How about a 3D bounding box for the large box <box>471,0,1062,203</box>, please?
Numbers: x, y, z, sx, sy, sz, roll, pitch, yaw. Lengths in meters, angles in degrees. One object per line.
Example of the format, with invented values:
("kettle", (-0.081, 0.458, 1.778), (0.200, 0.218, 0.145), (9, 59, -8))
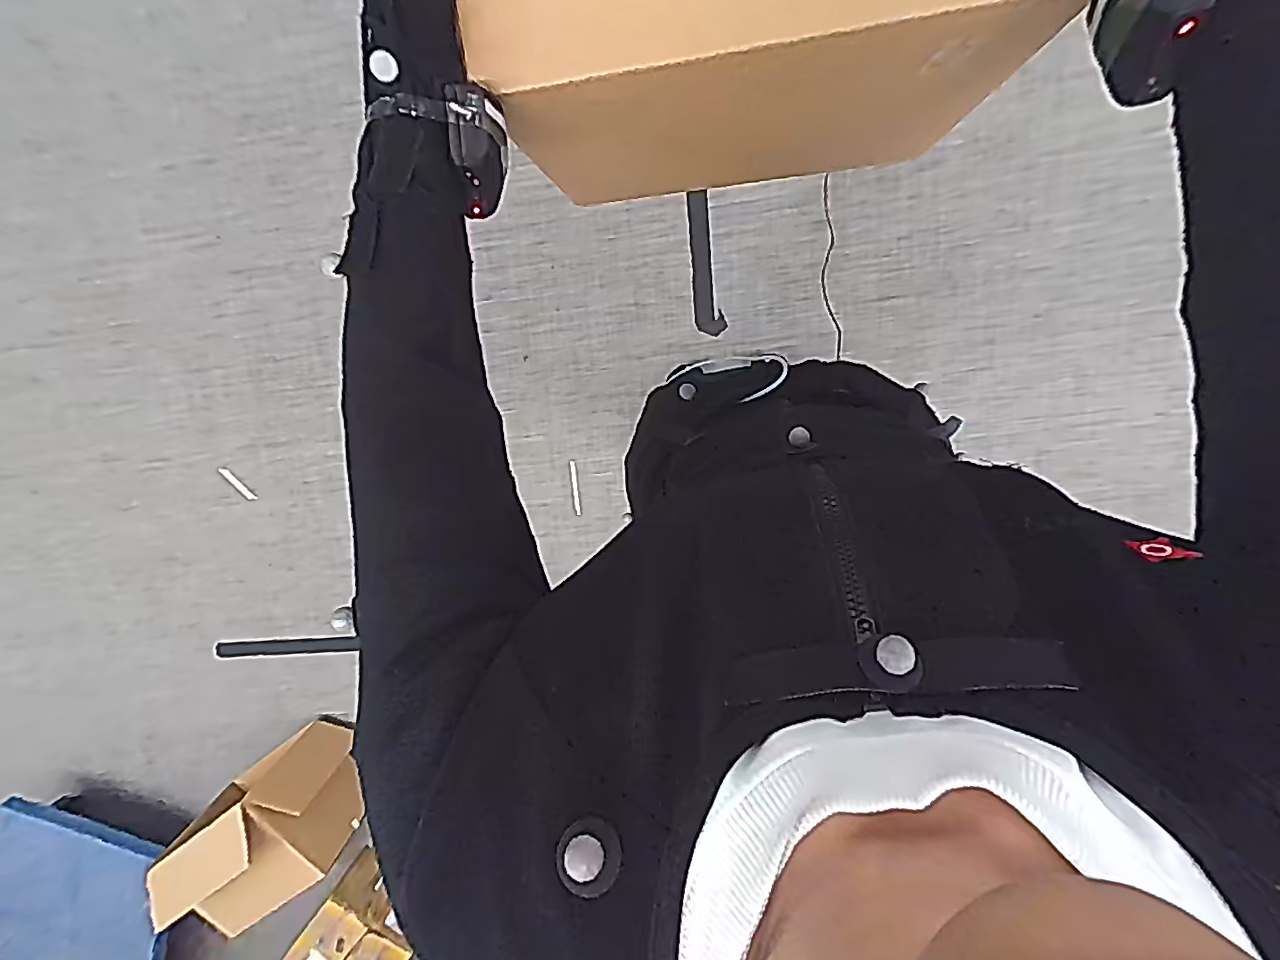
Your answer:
("large box", (0.084, -0.470, 0.464), (0.408, 0.320, 0.320), (-5, 104, 8))
